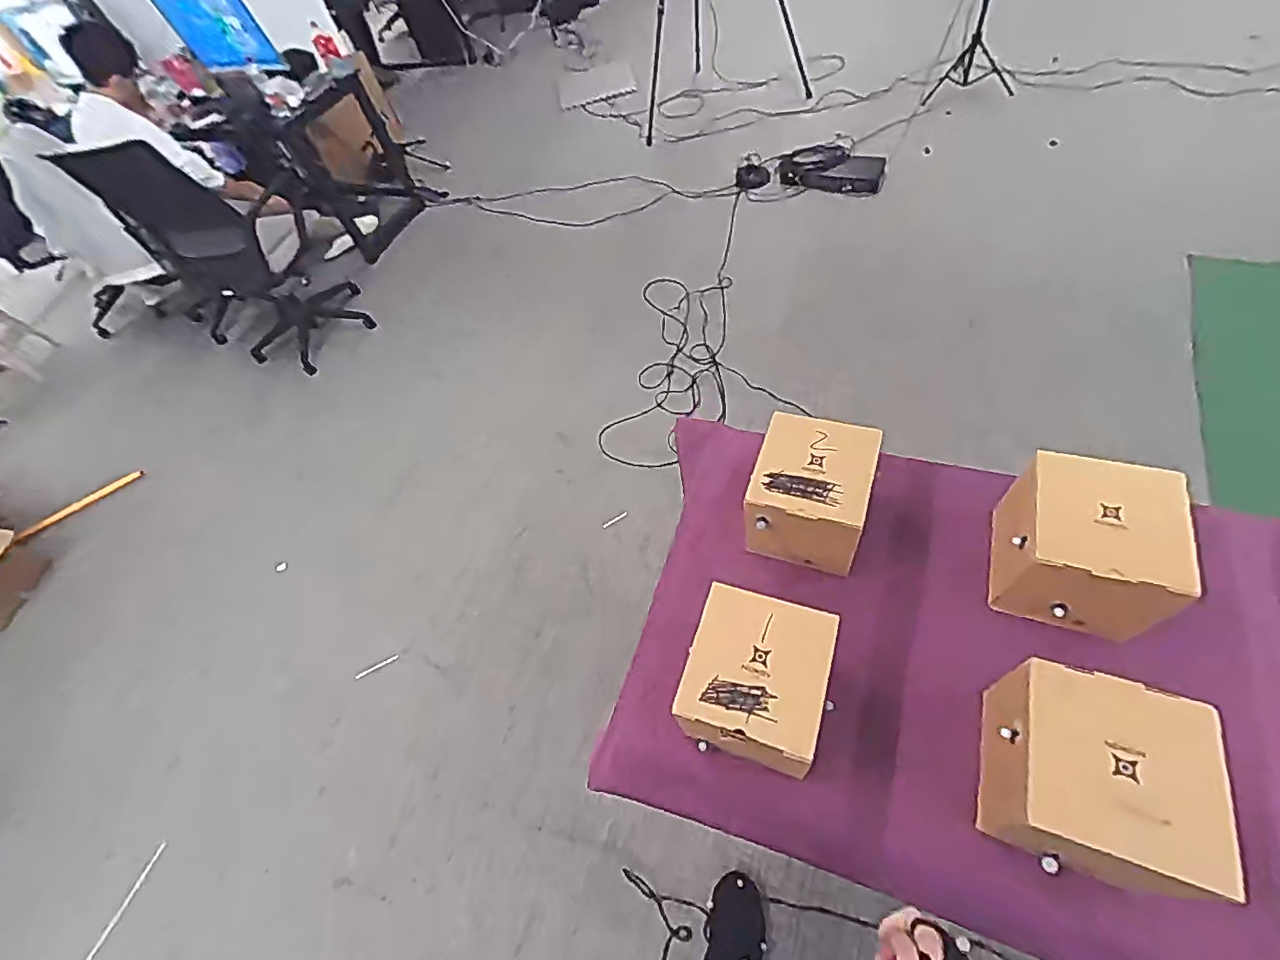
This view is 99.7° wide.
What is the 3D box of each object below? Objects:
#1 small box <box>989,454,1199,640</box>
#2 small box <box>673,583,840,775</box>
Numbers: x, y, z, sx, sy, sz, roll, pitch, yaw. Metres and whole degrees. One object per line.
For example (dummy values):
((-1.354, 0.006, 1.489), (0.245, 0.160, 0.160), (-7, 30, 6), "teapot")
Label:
((0.605, 0.094, 0.747), (0.168, 0.176, 0.179), (13, 61, 19), "small box")
((0.156, 0.268, 0.718), (0.168, 0.176, 0.179), (13, 59, 19), "small box")
